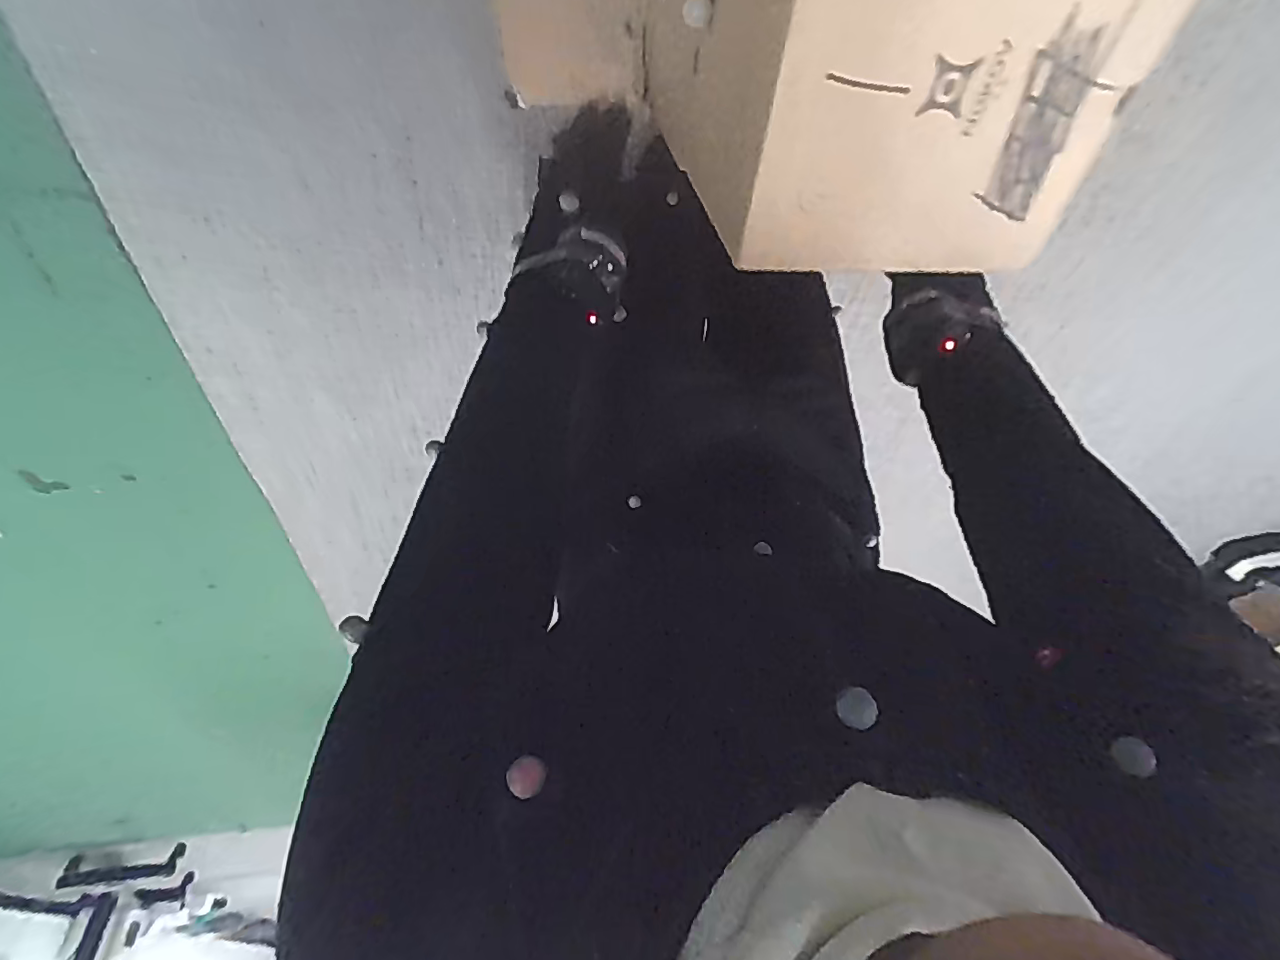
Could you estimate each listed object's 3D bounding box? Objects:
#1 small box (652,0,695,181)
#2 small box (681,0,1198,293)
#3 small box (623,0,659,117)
[{"bbox_3d":[0.104,-0.344,0.400,0.168,0.176,0.179,-3,139,-7],"label":"small box"},{"bbox_3d":[0.130,-0.222,0.292,0.179,0.176,0.168,-5,139,-7],"label":"small box"},{"bbox_3d":[0.080,-0.461,0.513,0.179,0.176,0.168,-5,140,-8],"label":"small box"}]
